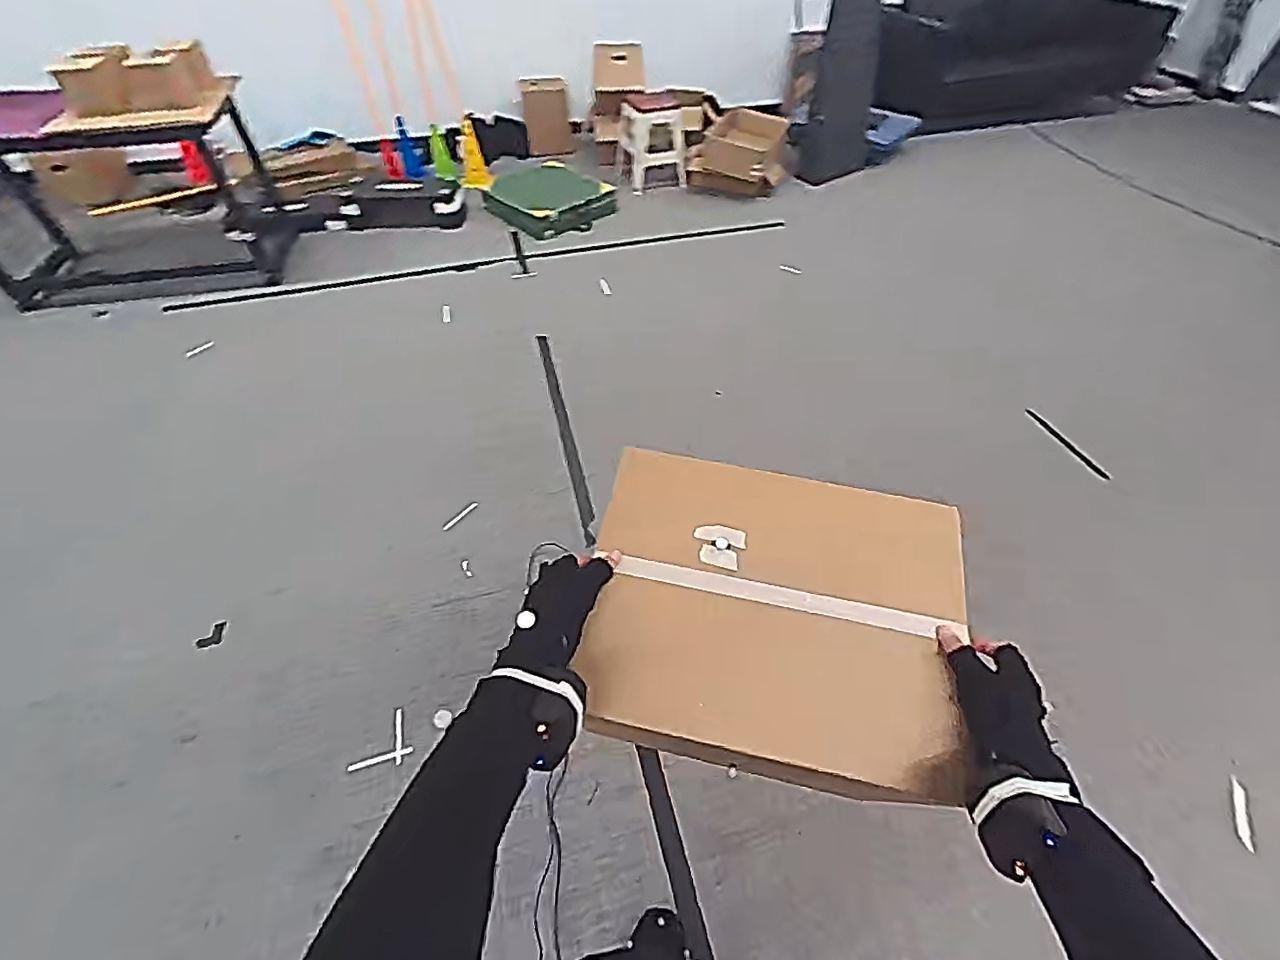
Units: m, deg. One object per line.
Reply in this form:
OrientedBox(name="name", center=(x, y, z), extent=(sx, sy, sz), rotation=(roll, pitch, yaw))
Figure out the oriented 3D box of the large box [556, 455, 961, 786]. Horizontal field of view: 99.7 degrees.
OrientedBox(name="large box", center=(0.140, 0.200, 0.727), extent=(0.408, 0.320, 0.320), rotation=(10, 61, 6))
